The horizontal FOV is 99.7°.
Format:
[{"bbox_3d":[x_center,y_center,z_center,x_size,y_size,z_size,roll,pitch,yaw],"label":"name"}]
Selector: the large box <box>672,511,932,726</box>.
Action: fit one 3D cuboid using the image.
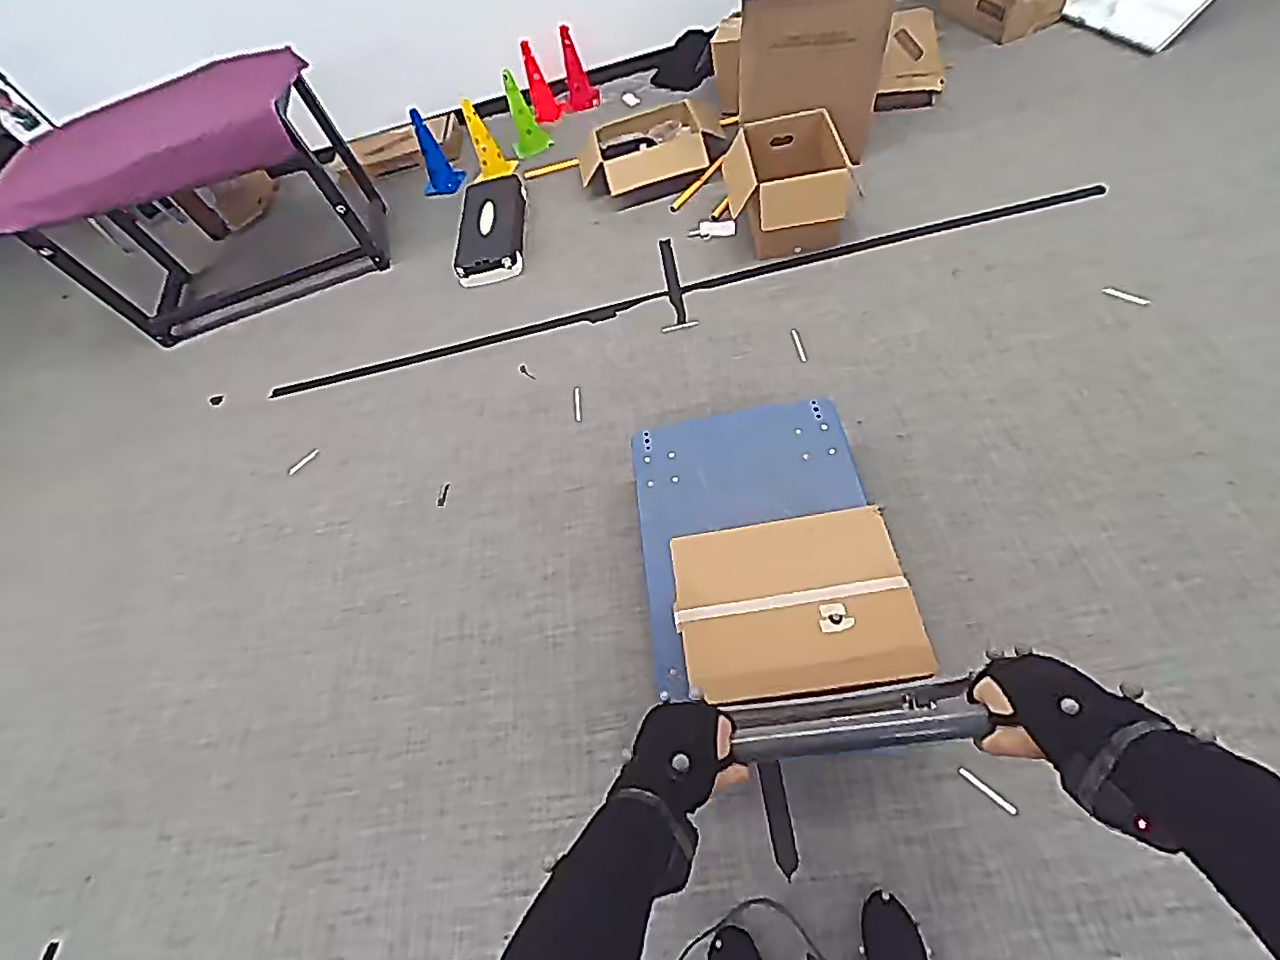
[{"bbox_3d":[0.297,0.299,1.110,0.408,0.320,0.320,-10,60,5],"label":"large box"}]
